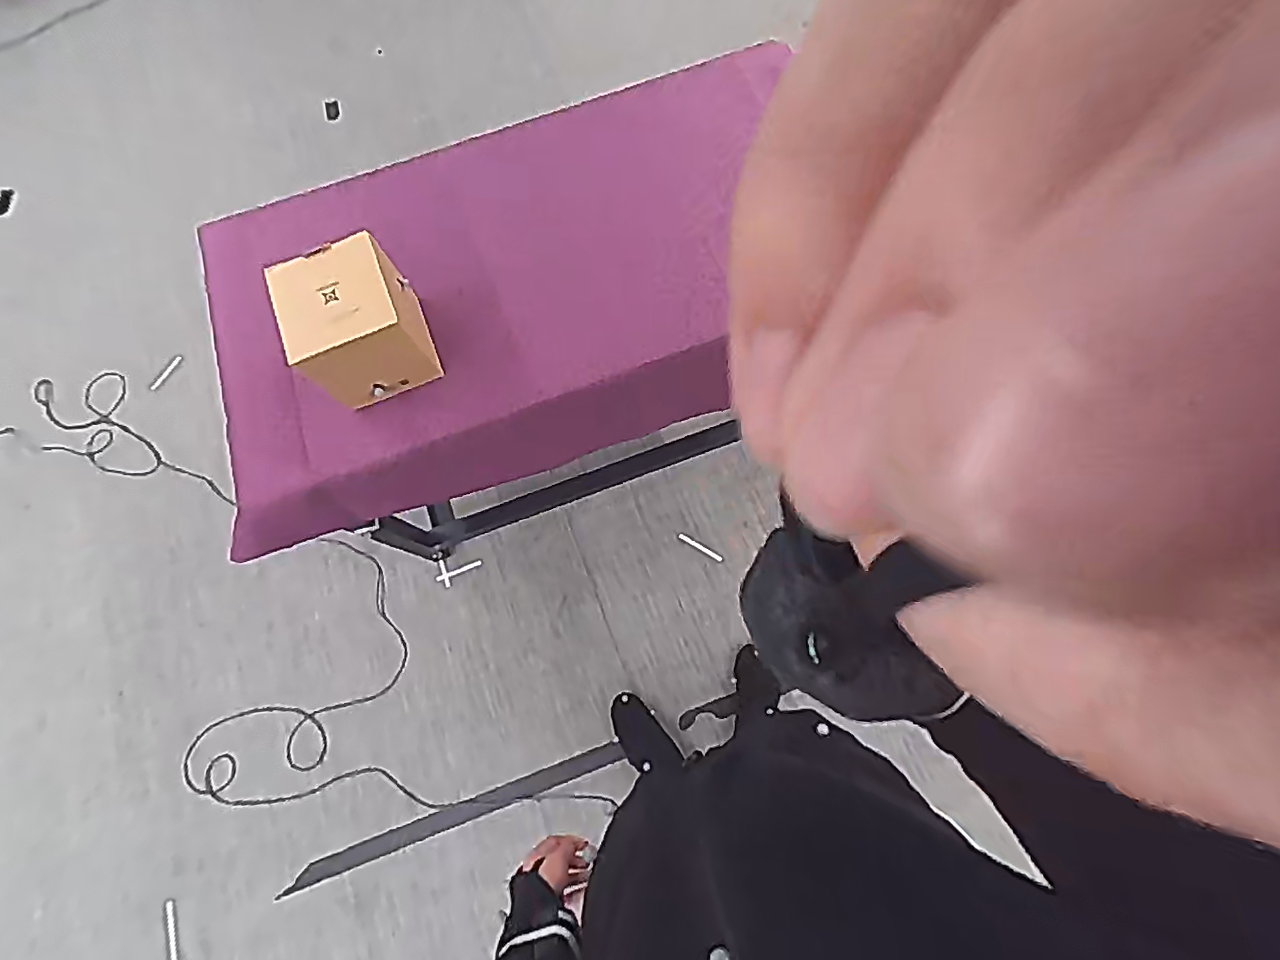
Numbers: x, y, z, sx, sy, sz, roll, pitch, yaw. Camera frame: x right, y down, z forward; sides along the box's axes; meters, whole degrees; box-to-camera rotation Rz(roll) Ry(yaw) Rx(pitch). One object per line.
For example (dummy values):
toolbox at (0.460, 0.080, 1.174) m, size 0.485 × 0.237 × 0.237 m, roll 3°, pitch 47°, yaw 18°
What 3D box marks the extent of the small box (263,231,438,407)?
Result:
small box at (-0.449, -0.246, 0.857) m, size 0.168 × 0.176 × 0.179 m, roll -23°, pitch 73°, yaw -3°
